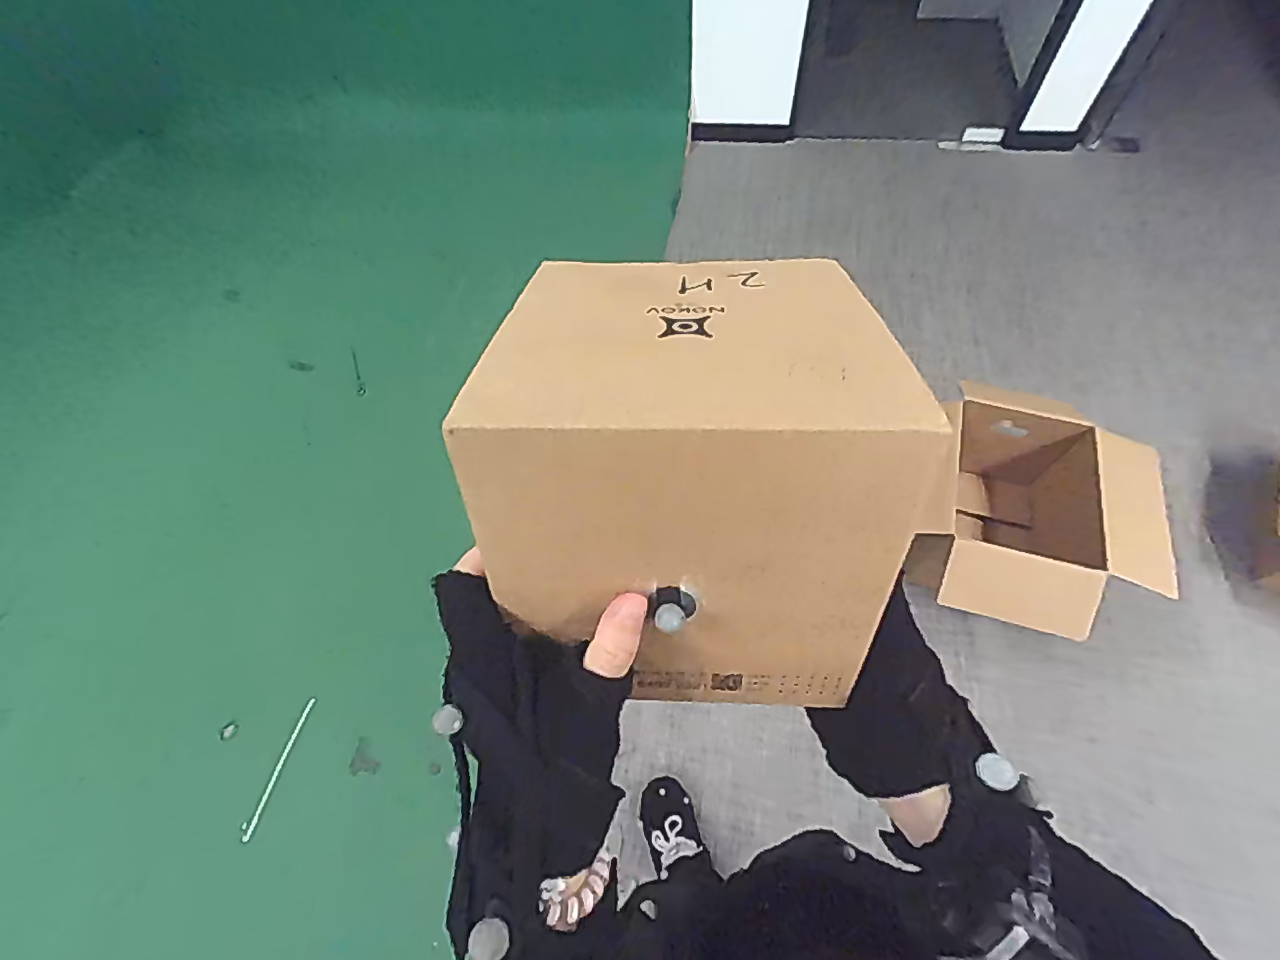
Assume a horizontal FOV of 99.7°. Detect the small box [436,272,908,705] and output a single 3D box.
[{"bbox_3d":[0.019,0.001,0.296,0.168,0.176,0.179,1,39,5],"label":"small box"}]
